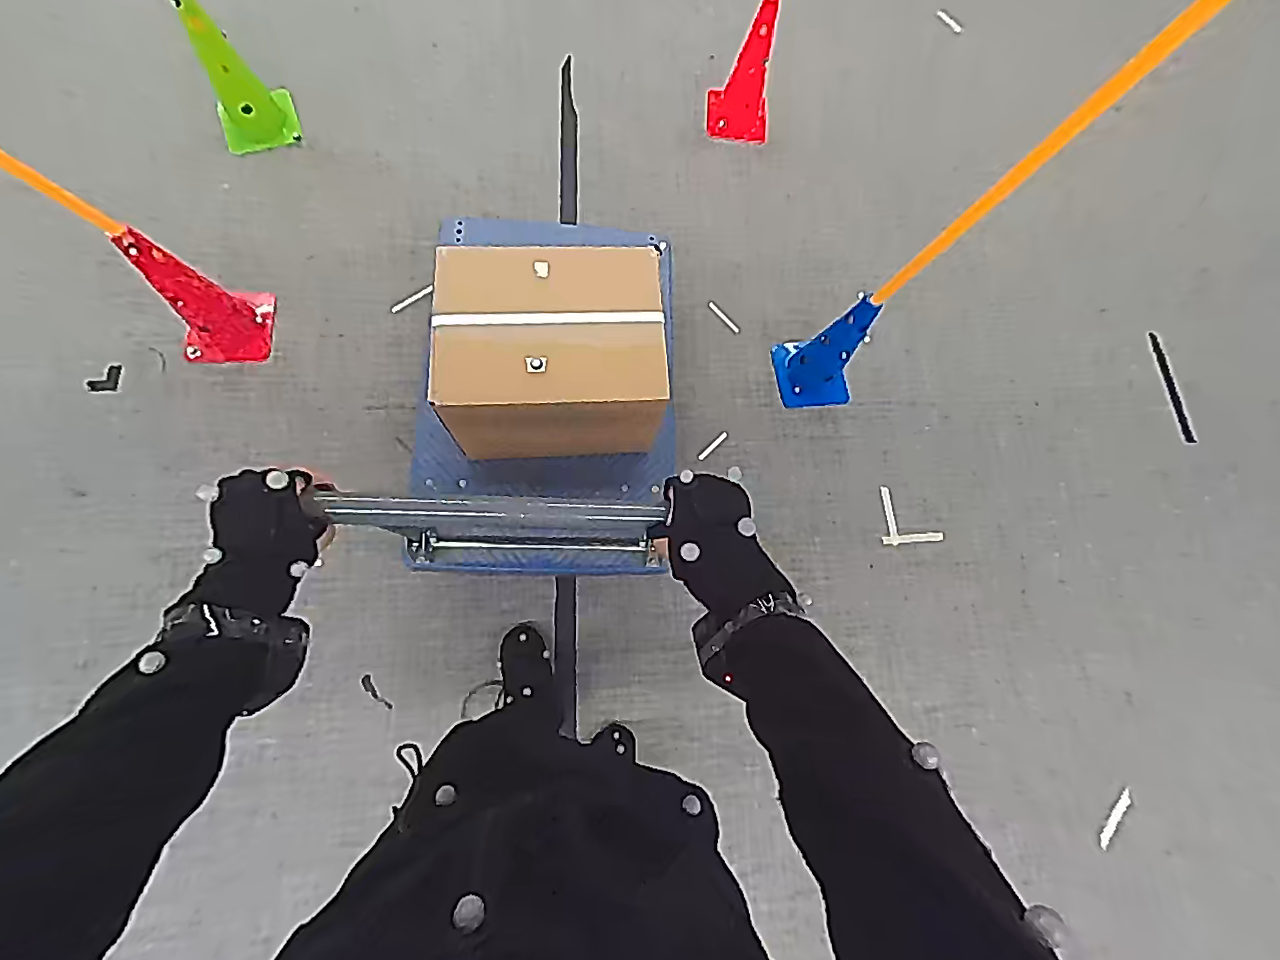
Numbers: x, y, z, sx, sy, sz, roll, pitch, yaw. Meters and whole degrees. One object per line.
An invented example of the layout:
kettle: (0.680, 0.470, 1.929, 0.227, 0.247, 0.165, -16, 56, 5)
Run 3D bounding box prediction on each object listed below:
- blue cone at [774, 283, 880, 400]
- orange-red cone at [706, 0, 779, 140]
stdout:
blue cone: (0.499, -0.361, 1.374, 0.193, 0.380, 0.192, -5, 74, -8)
orange-red cone: (0.335, -1.232, 1.582, 0.199, 0.360, 0.198, 6, 75, -6)
